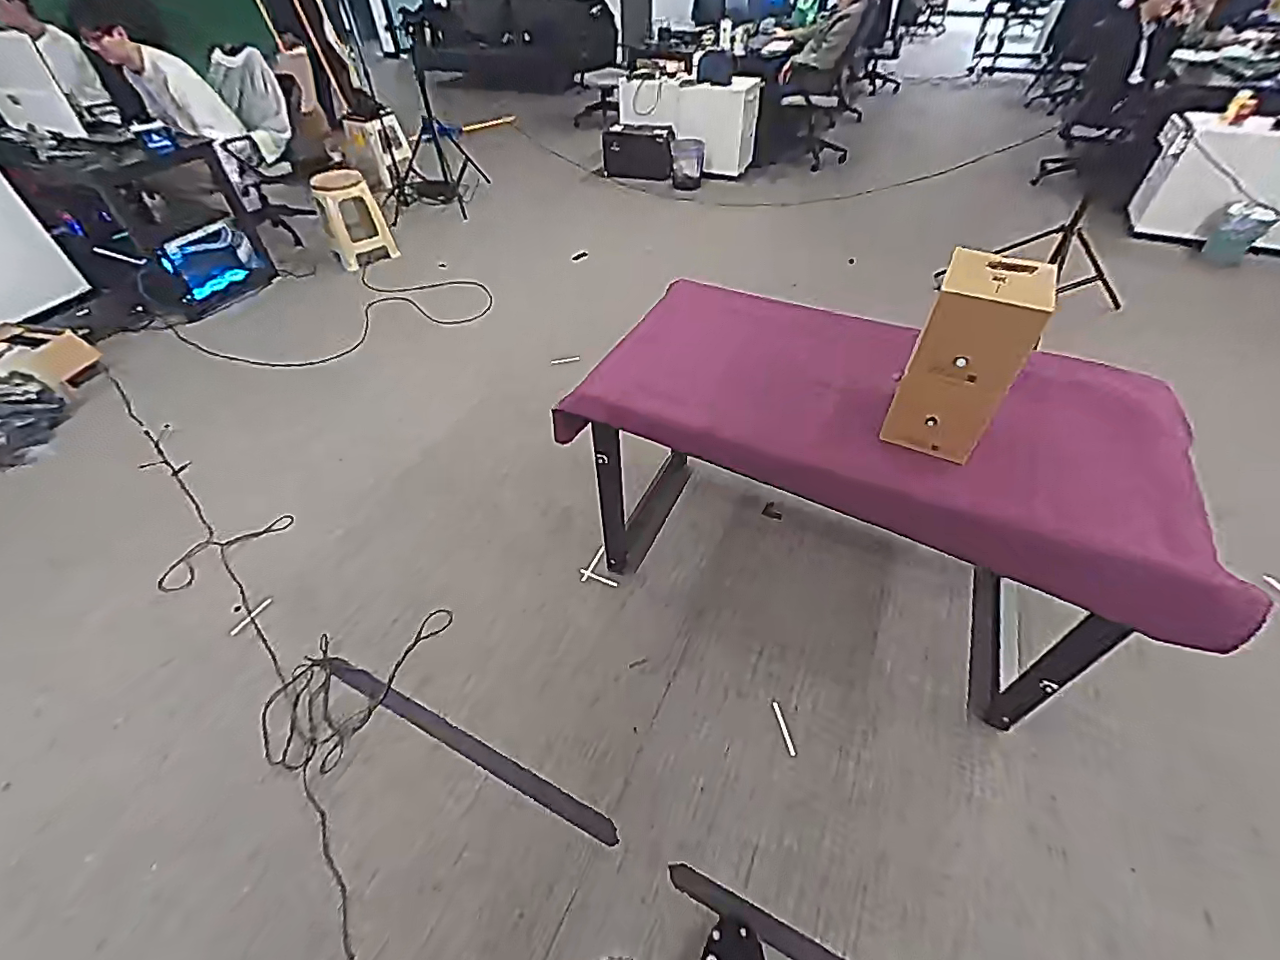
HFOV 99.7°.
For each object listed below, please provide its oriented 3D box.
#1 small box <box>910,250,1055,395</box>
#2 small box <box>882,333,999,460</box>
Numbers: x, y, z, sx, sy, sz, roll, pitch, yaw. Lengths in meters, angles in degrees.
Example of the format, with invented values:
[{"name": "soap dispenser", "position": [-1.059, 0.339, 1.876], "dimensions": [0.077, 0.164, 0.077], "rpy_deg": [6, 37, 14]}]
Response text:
[{"name": "small box", "position": [0.606, -0.282, 0.969], "dimensions": [0.168, 0.176, 0.179], "rpy_deg": [21, 51, 20]}, {"name": "small box", "position": [0.604, -0.167, 1.086], "dimensions": [0.168, 0.176, 0.179], "rpy_deg": [22, 50, 20]}]
